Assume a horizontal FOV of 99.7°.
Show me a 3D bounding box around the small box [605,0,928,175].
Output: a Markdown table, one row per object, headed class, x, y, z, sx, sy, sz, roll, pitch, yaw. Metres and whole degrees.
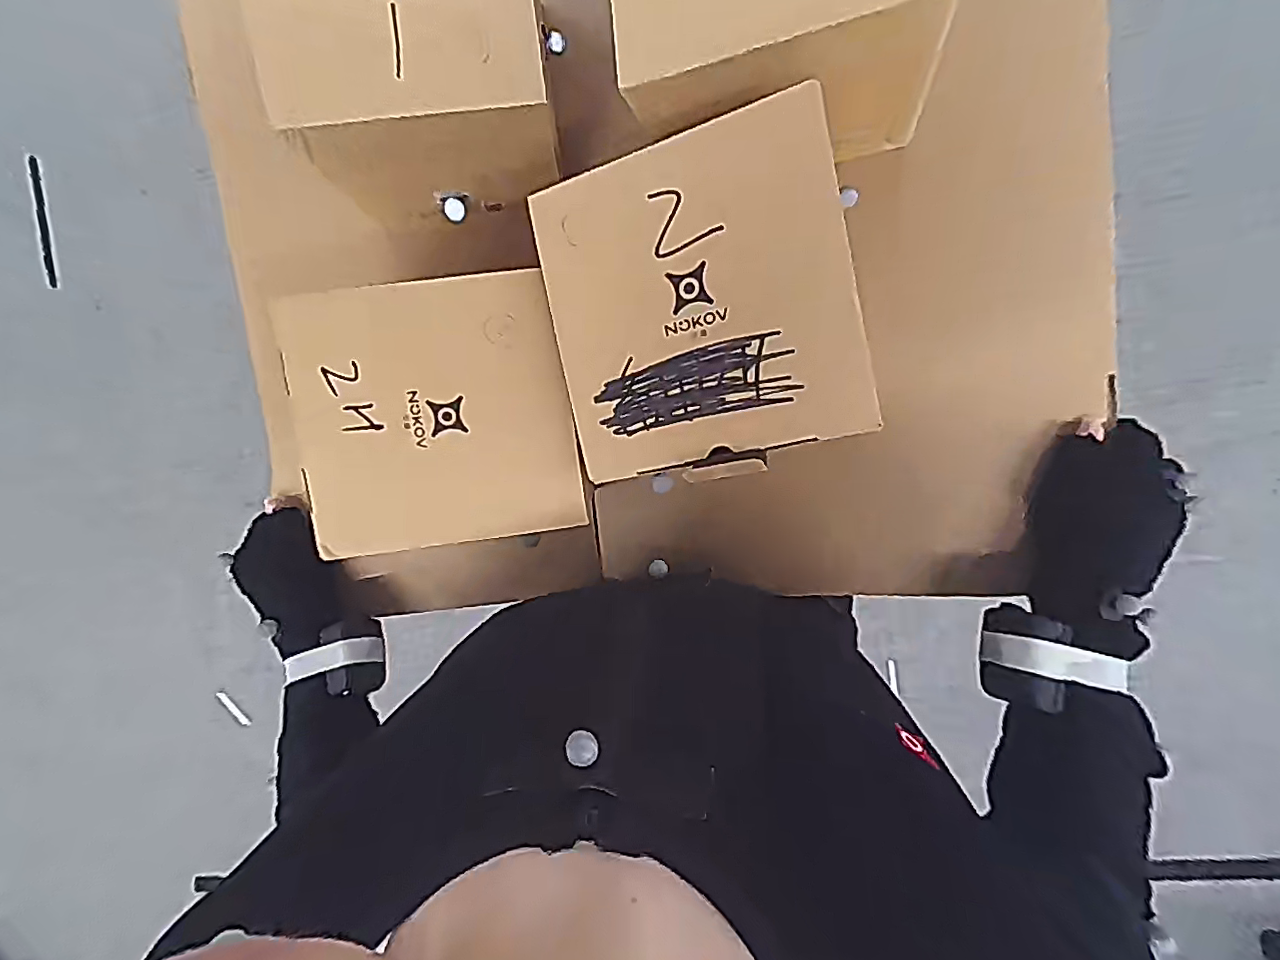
| class | x | y | z | sx | sy | sz | roll | pitch | yaw |
| --- | --- | --- | --- | --- | --- | --- | --- | --- | --- |
| small box | 0.080 | -0.318 | 0.337 | 0.168 | 0.176 | 0.179 | -4 | 95 | 19 |
